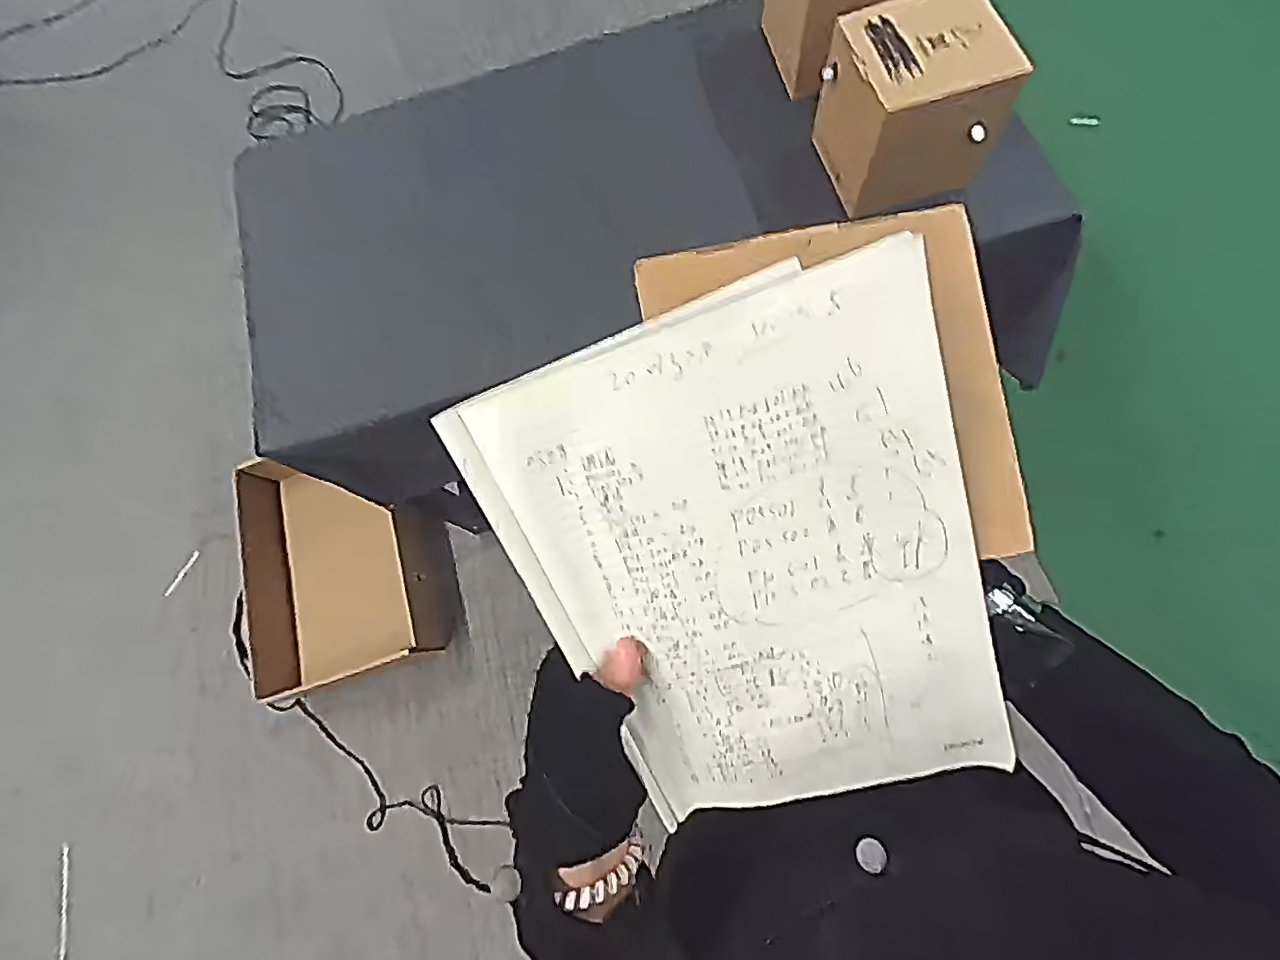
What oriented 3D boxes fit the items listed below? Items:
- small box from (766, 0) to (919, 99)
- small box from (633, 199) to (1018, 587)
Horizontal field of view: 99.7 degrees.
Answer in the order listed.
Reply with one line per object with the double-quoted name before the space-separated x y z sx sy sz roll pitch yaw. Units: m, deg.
"small box" 0.292 -0.715 0.795 0.168 0.176 0.179 -13 73 4
"small box" 0.095 -0.038 0.348 0.168 0.176 0.179 -9 85 4
